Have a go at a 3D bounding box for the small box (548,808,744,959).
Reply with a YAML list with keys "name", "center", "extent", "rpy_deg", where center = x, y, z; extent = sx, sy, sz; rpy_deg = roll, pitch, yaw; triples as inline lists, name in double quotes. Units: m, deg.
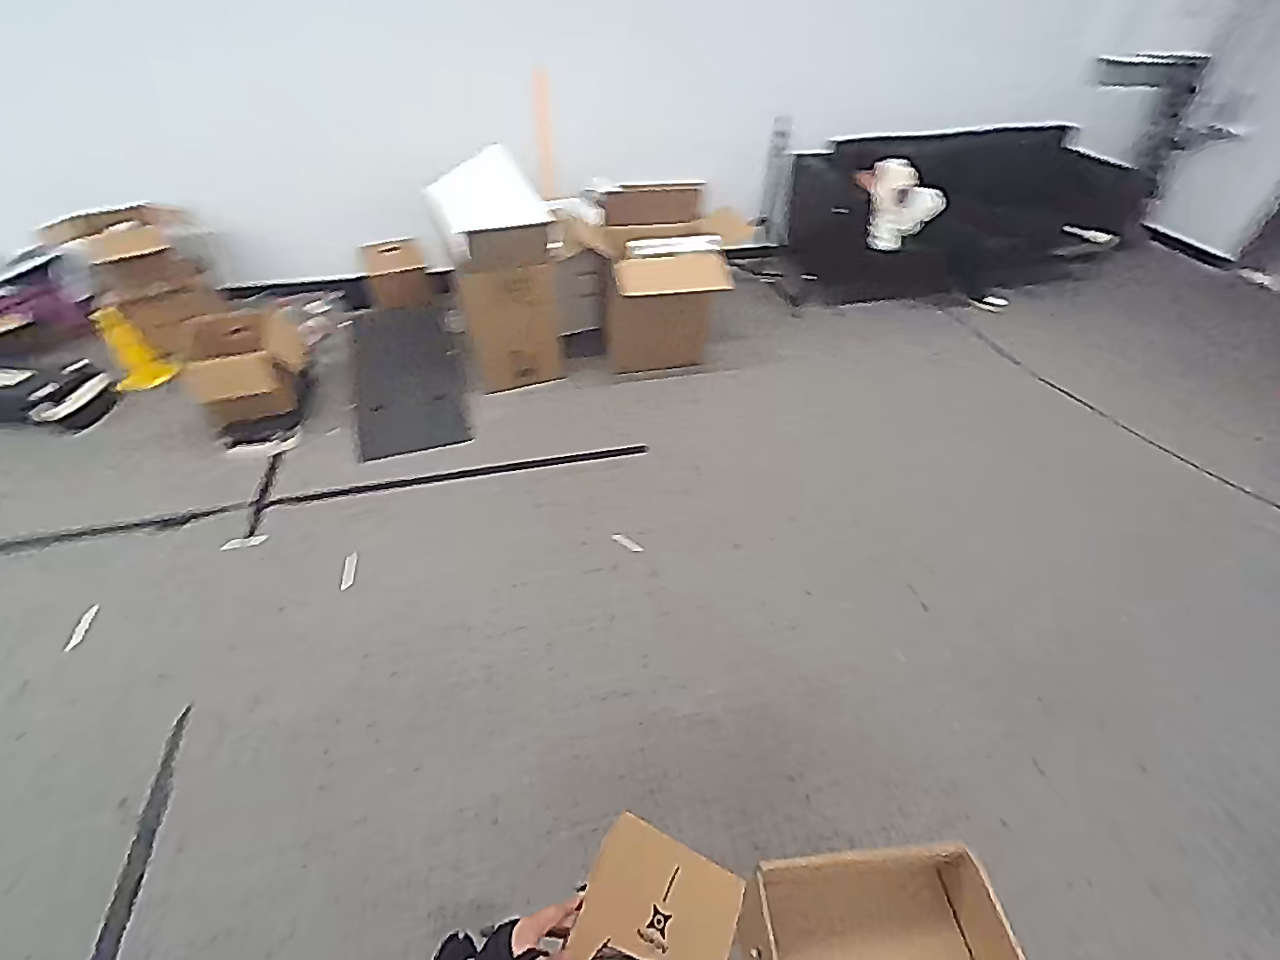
- name: "small box"
  center: [-0.001, 0.531, 0.630]
  extent: [0.168, 0.176, 0.179]
  rpy_deg: [25, 45, 9]
